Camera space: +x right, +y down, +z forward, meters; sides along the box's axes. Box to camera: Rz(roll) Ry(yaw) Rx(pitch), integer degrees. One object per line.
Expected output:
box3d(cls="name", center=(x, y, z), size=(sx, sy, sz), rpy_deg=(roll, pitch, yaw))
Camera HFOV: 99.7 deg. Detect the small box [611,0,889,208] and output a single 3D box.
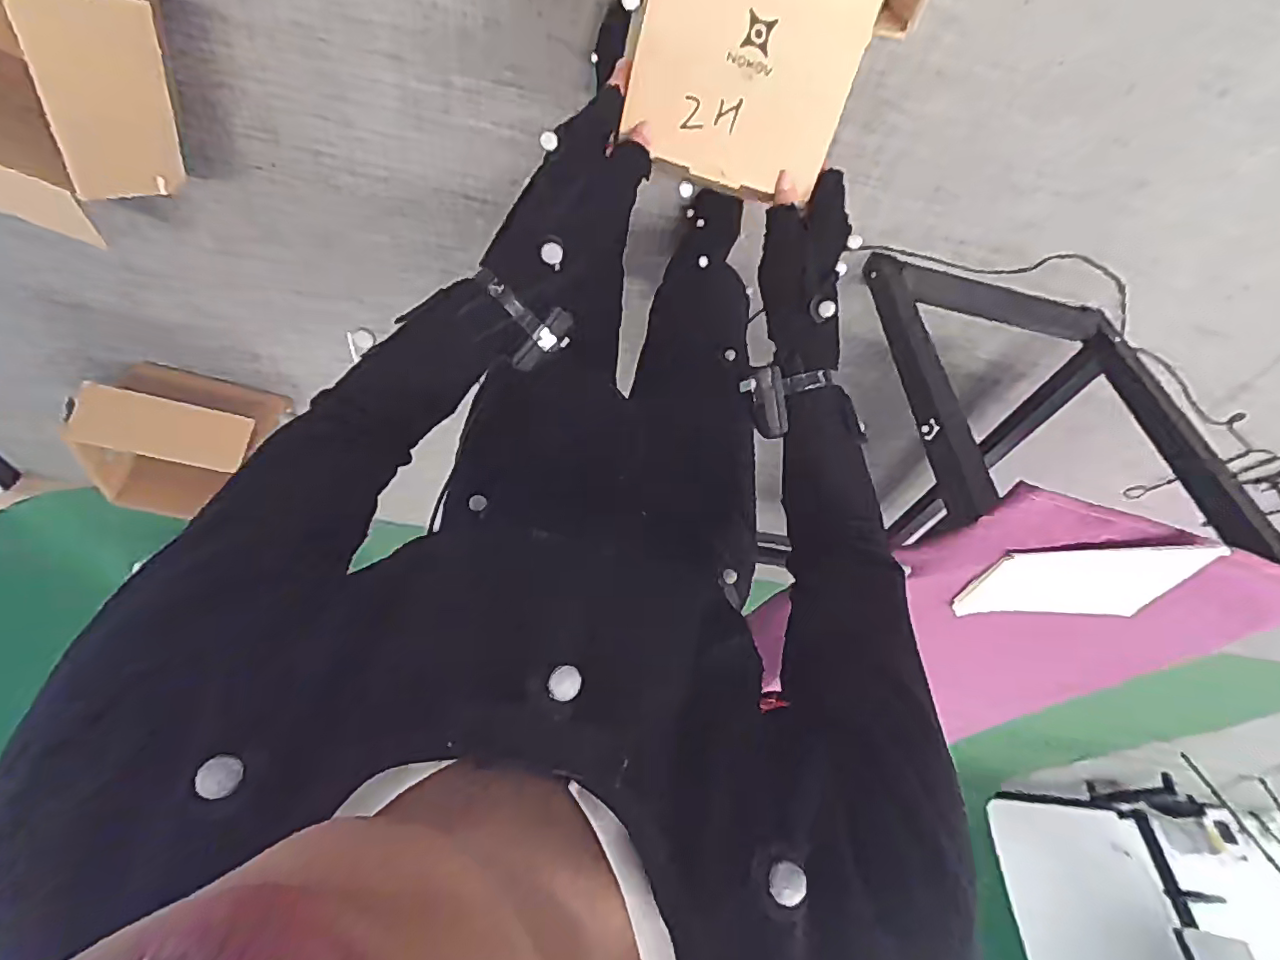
box3d(cls="small box", center=(0.075, -0.353, 0.460), size=(0.168, 0.176, 0.179), rpy_deg=(11, 118, -14))
